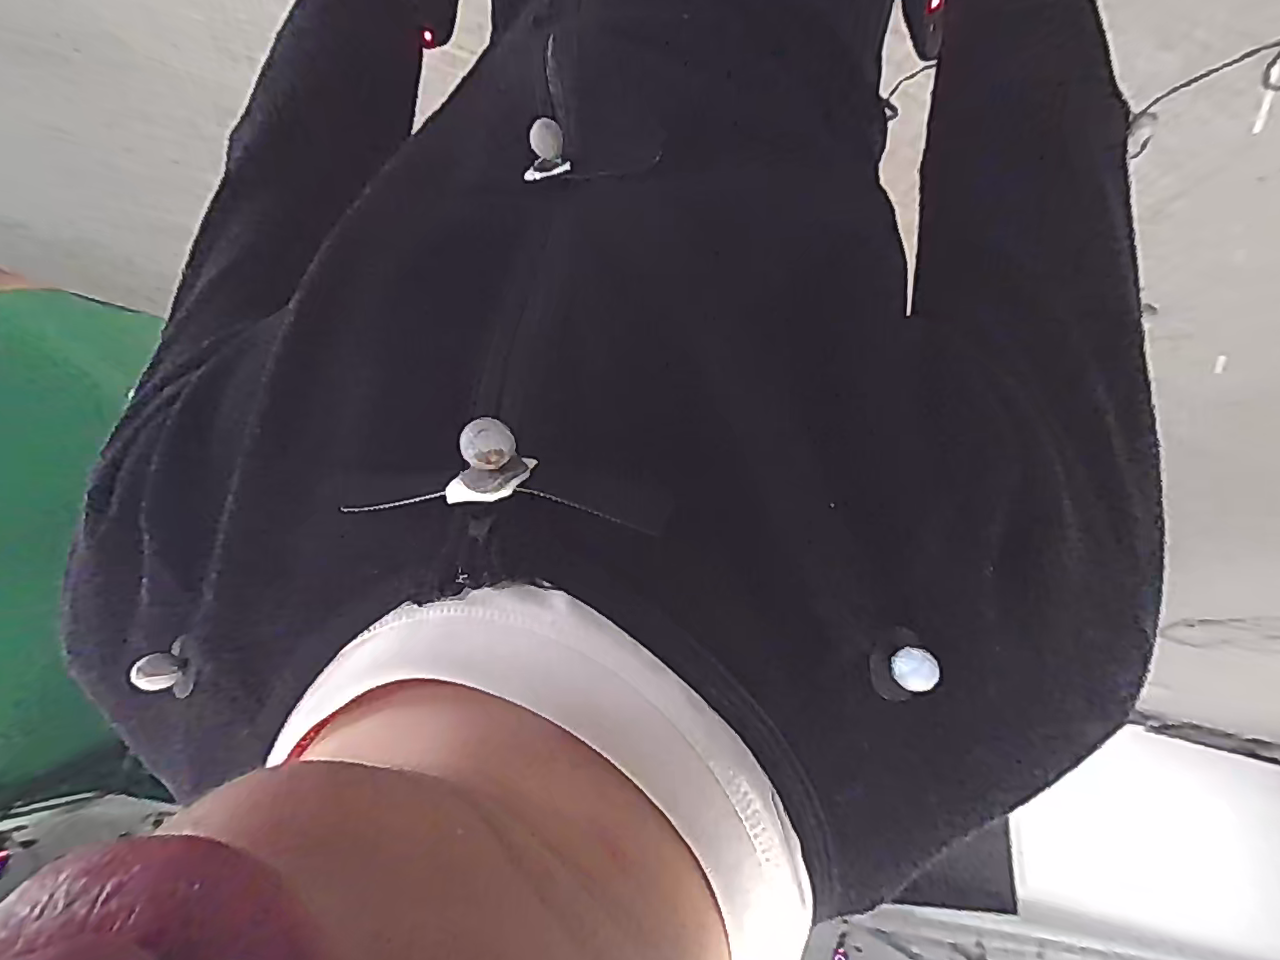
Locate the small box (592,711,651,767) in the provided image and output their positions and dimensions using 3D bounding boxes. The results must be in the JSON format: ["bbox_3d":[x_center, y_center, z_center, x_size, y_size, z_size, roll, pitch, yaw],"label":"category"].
[{"bbox_3d":[-0.071,1.021,2.137,0.179,0.176,0.168,19,153,-13],"label":"small box"}]
